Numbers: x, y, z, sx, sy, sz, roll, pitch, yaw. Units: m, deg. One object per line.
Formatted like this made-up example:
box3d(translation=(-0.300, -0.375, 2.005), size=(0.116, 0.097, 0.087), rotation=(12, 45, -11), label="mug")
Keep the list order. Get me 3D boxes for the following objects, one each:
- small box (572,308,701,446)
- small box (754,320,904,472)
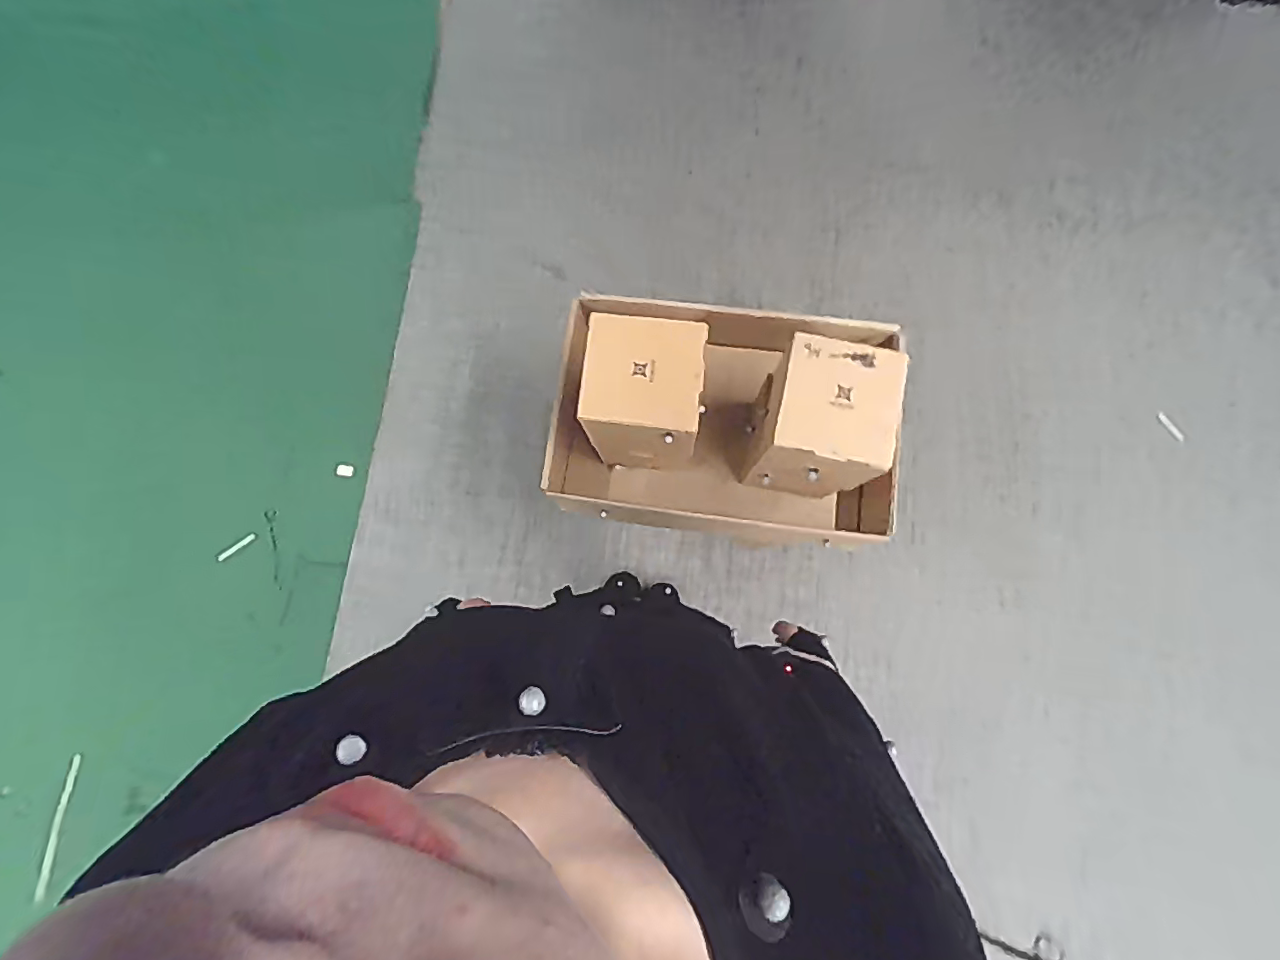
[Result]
box3d(translation=(-0.001, -0.155, 0.861), size=(0.179, 0.176, 0.168), rotation=(4, 80, 3), label="small box")
box3d(translation=(0.279, -0.119, 0.836), size=(0.168, 0.176, 0.179), rotation=(12, 82, 5), label="small box")
